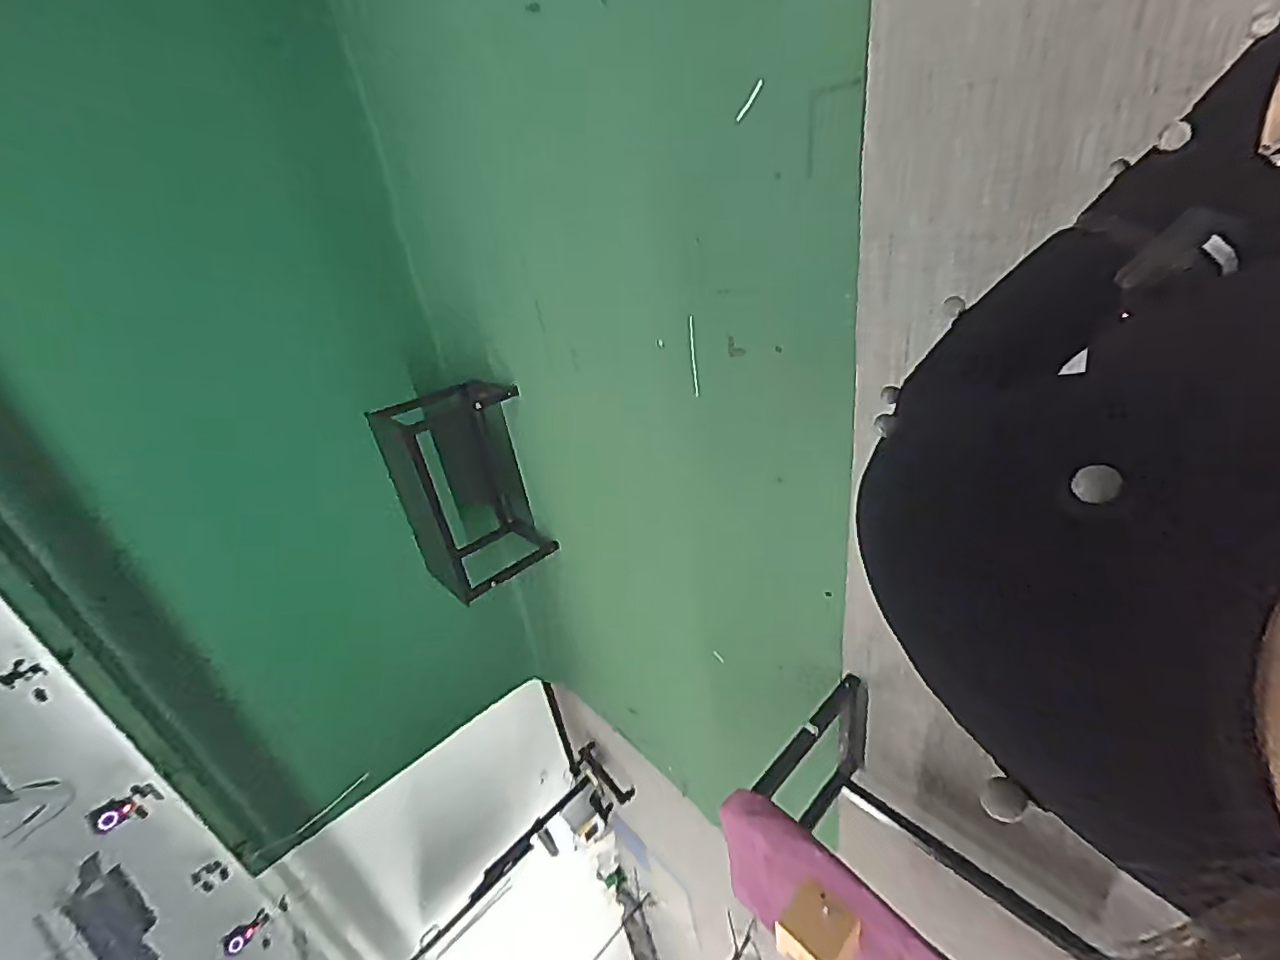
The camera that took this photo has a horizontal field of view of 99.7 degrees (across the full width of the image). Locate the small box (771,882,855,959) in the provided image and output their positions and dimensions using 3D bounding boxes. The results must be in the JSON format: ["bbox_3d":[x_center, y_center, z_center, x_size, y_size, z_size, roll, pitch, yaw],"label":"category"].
[{"bbox_3d":[0.485,1.292,1.512,0.168,0.176,0.179,21,129,43],"label":"small box"}]
